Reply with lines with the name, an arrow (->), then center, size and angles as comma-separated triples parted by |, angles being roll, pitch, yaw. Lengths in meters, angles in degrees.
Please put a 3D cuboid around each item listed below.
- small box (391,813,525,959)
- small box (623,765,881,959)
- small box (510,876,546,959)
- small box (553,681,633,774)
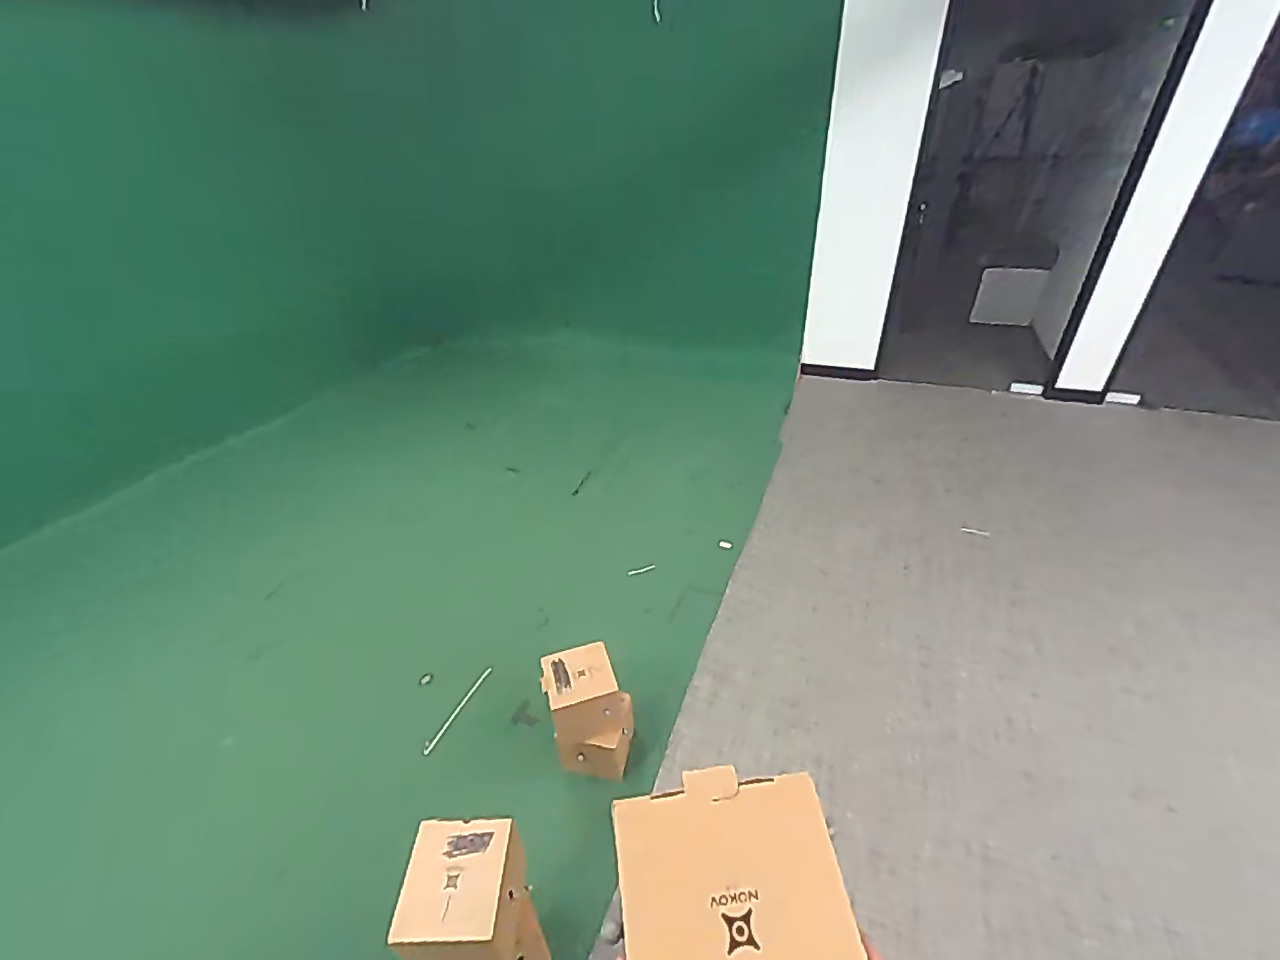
small box -> -0.302, 0.712, 0.940 | 0.168, 0.176, 0.179 | -1, 35, 0
small box -> 0.079, 0.358, 0.441 | 0.168, 0.176, 0.179 | -6, 48, -5
small box -> -0.292, 0.842, 1.040 | 0.168, 0.176, 0.179 | -19, 37, -24
small box -> -0.125, 0.697, 1.522 | 0.179, 0.176, 0.168 | 5, 35, 13
